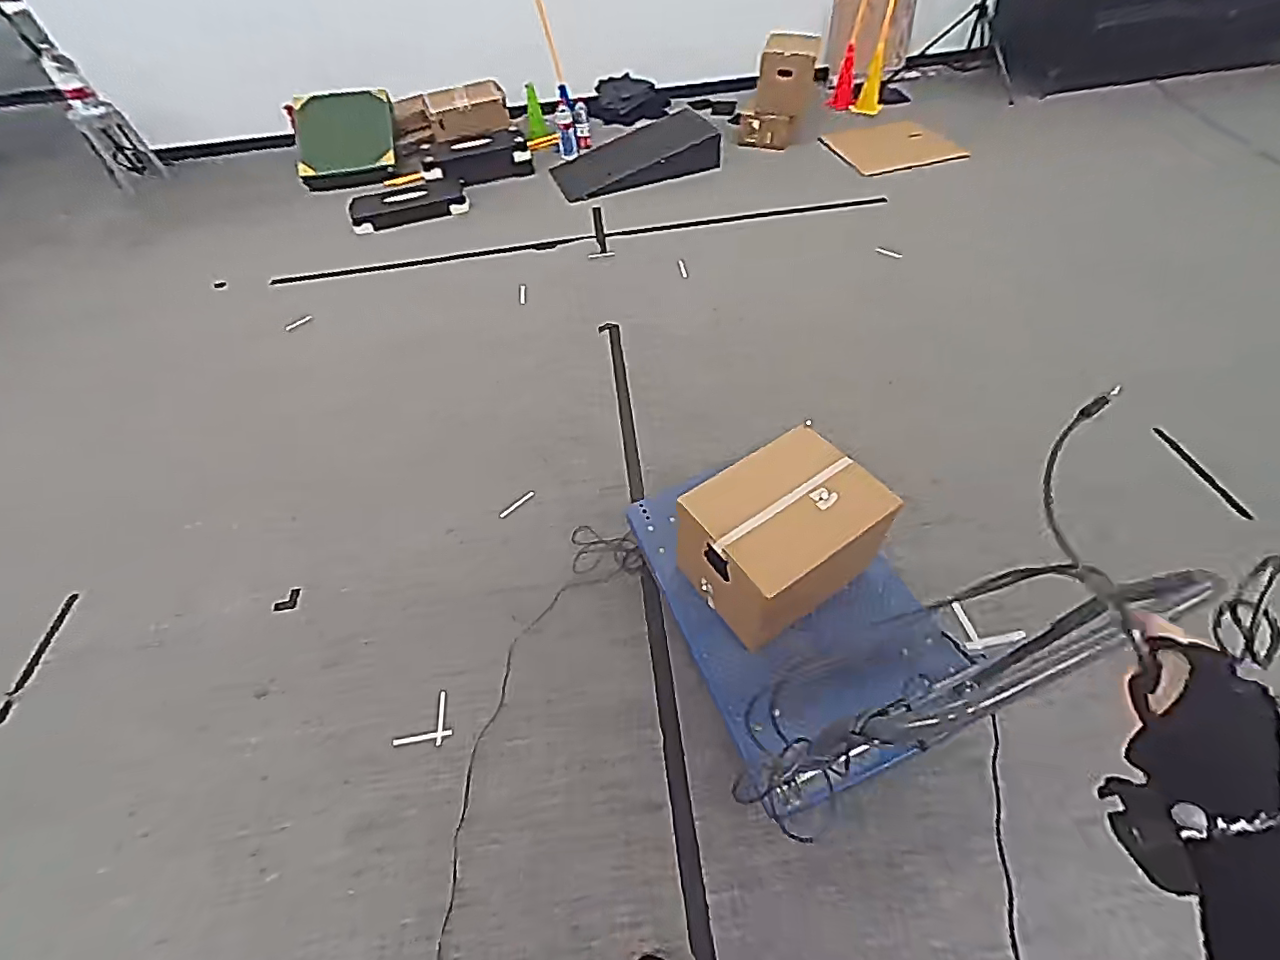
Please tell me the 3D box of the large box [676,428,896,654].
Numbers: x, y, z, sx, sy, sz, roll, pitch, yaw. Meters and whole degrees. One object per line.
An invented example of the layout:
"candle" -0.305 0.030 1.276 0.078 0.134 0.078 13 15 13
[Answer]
"large box" 0.336 0.148 1.337 0.408 0.320 0.320 -29 56 -18
